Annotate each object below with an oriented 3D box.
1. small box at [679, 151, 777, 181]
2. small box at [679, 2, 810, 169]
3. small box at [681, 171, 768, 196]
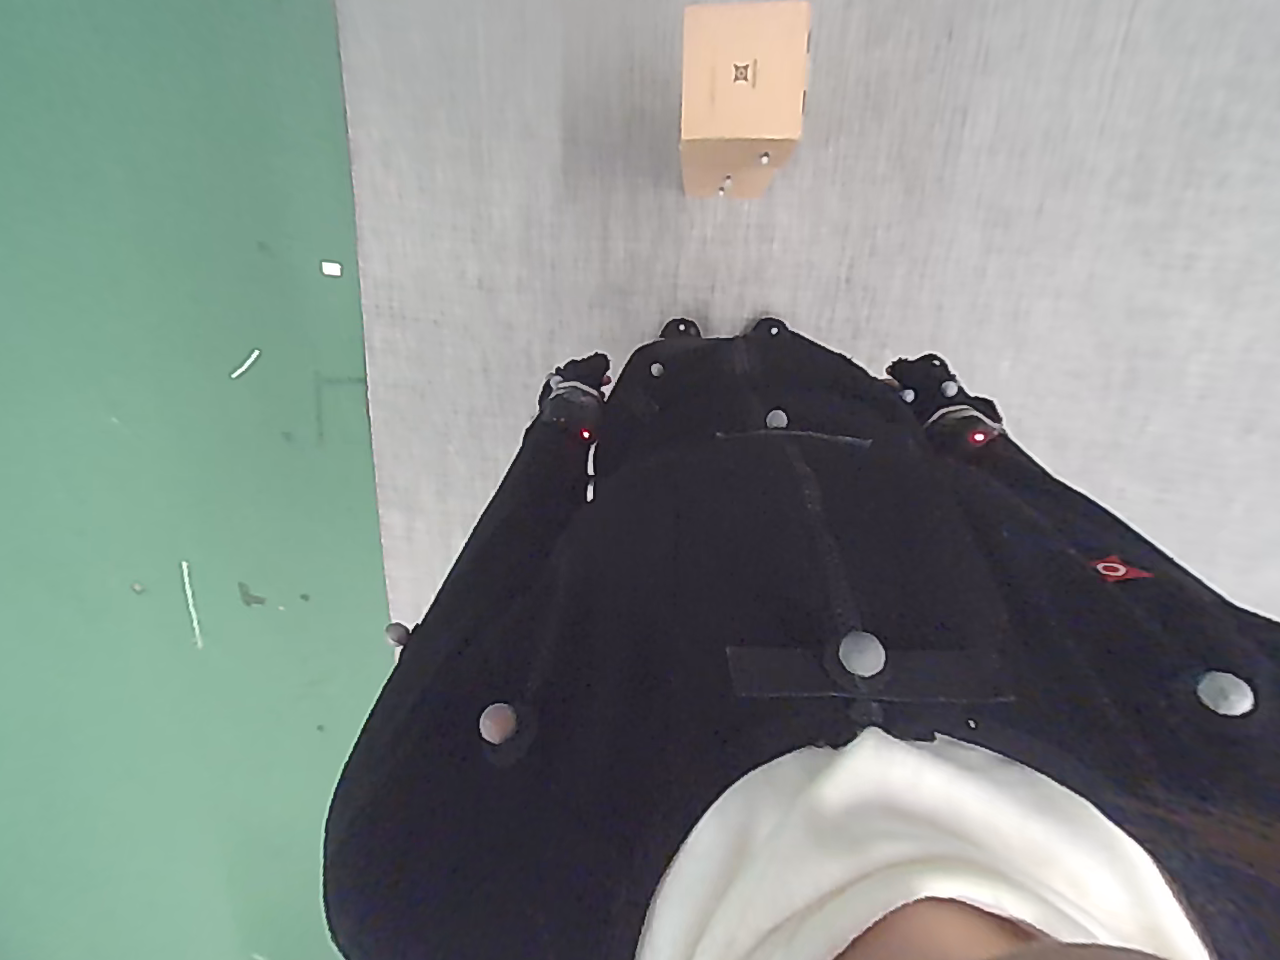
[{"bbox_3d":[0.163,-0.658,0.990,0.179,0.176,0.168,2,107,5],"label":"small box"},{"bbox_3d":[0.153,-0.597,0.838,0.179,0.176,0.168,2,106,6],"label":"small box"},{"bbox_3d":[0.181,-0.709,1.144,0.179,0.176,0.168,4,107,5],"label":"small box"}]
